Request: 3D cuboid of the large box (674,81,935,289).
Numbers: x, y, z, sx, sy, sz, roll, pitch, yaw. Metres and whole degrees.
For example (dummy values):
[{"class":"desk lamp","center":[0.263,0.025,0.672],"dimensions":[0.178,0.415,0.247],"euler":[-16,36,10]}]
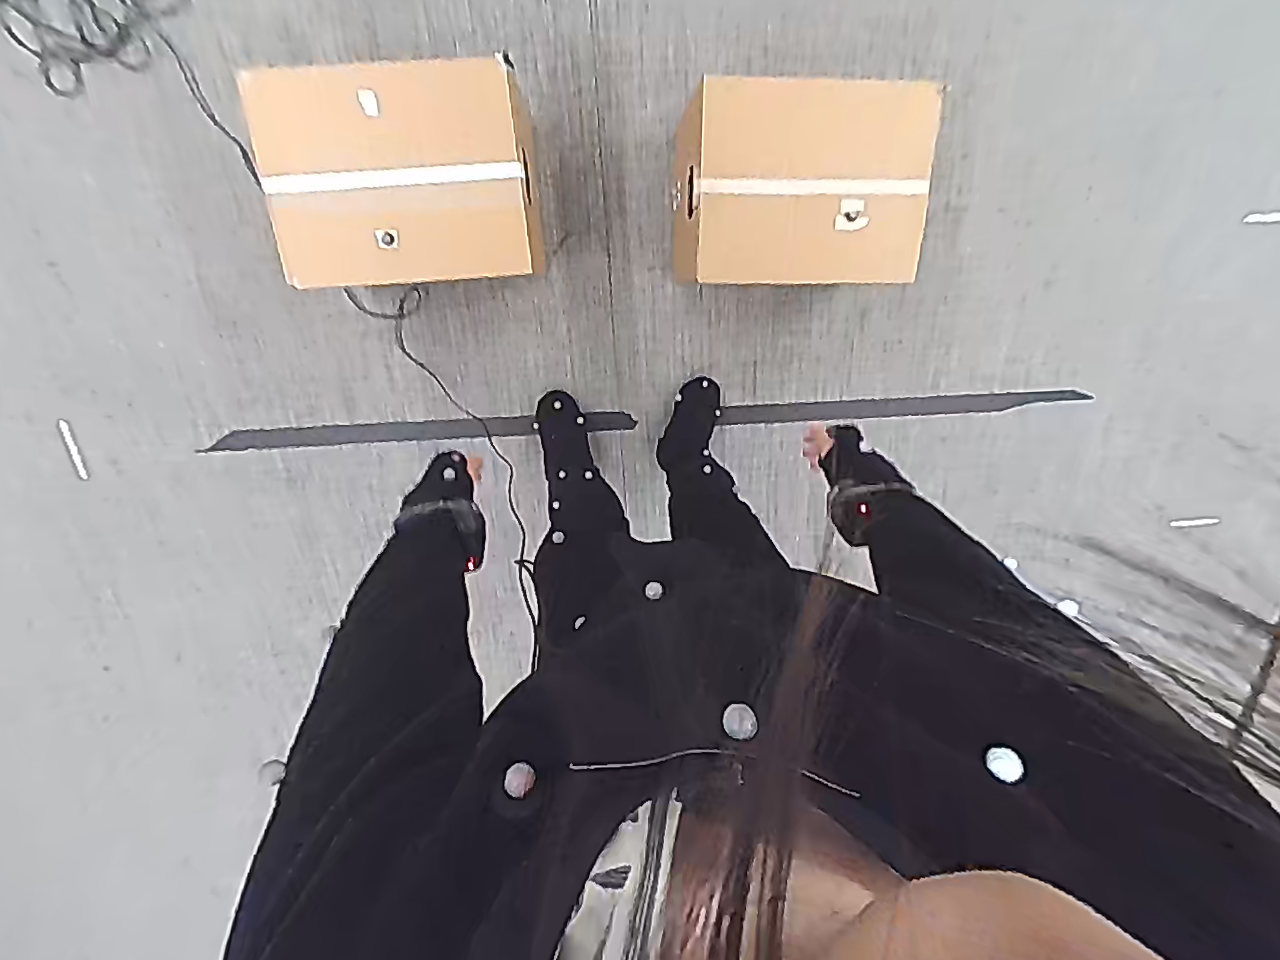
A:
[{"class":"large box","center":[0.286,-0.551,1.076],"dimensions":[0.408,0.320,0.320],"euler":[-2,109,-5]}]
